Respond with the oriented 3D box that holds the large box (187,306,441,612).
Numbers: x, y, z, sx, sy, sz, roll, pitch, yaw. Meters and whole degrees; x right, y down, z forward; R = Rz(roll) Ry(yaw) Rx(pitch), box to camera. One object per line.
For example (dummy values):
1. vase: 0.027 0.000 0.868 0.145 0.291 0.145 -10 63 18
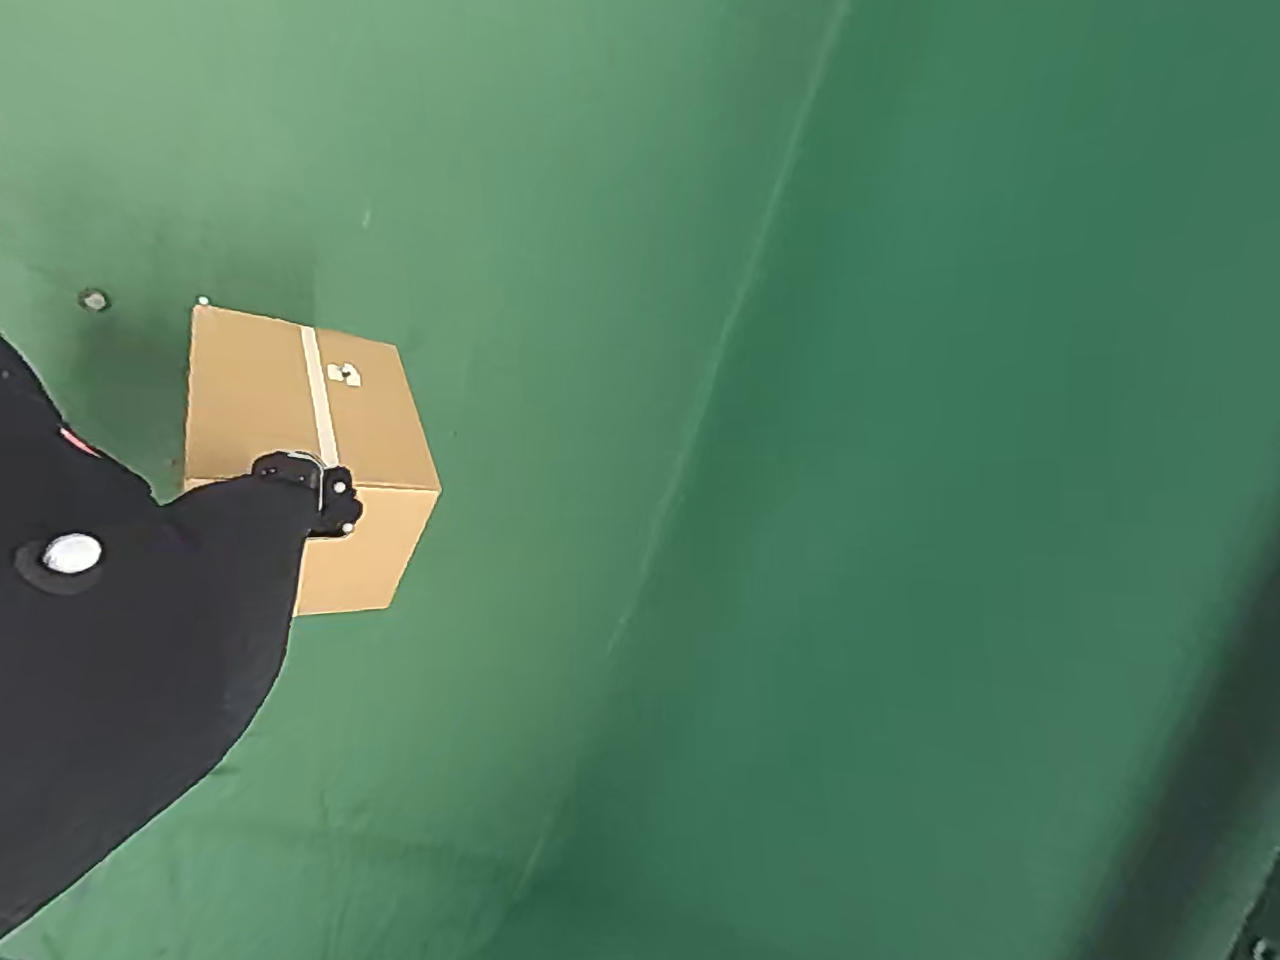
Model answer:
1. large box: -0.590 -0.036 0.947 0.320 0.408 0.320 4 131 -41
